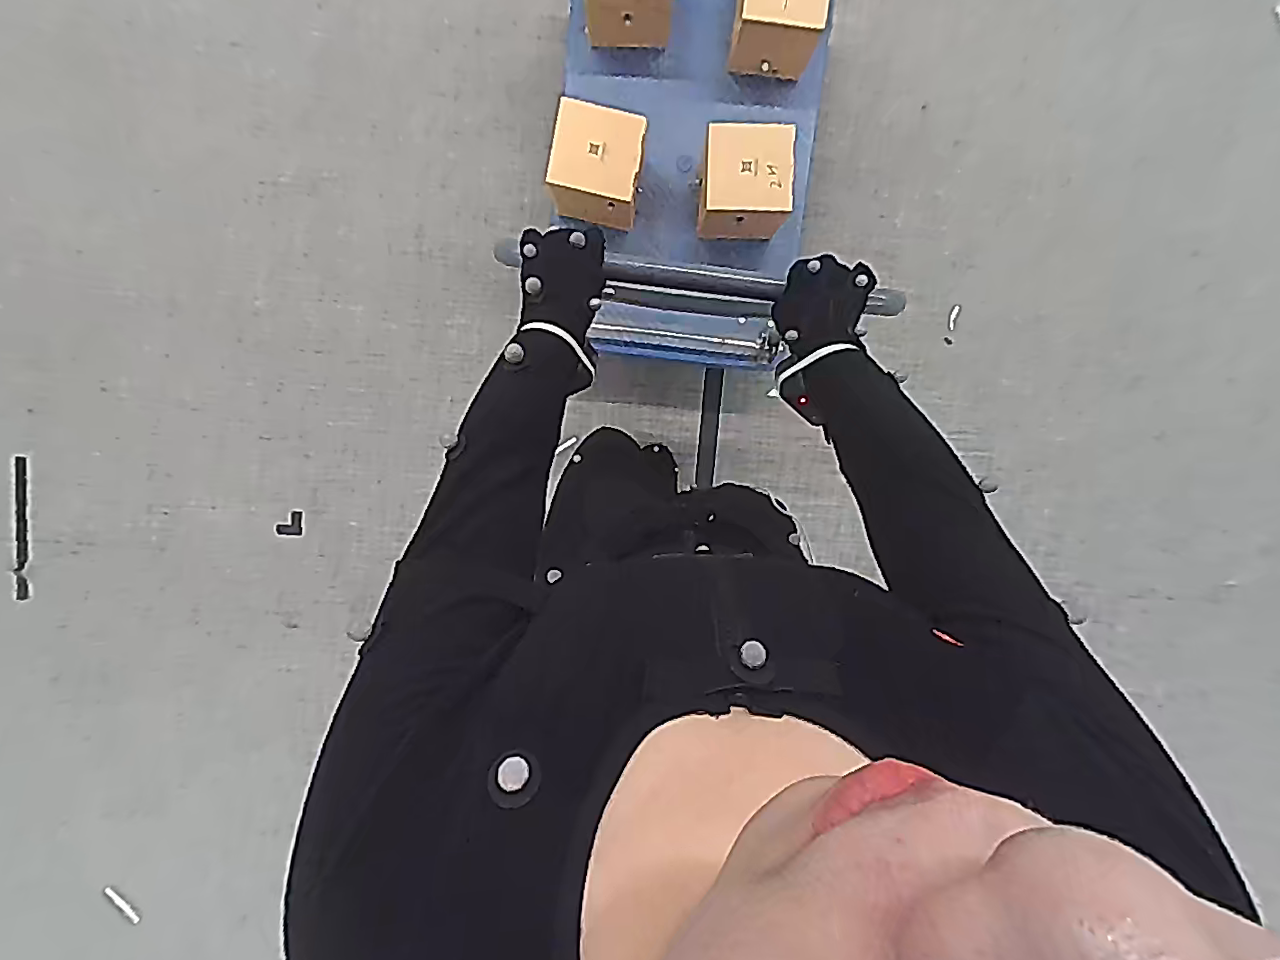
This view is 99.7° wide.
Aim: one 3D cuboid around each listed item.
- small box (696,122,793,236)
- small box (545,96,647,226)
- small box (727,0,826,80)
[{"bbox_3d":[0.215,-0.636,1.160,0.179,0.176,0.168,1,97,-1],"label":"small box"},{"bbox_3d":[-0.091,-0.666,1.151,0.179,0.176,0.168,12,95,-4],"label":"small box"},{"bbox_3d":[0.283,-0.982,1.121,0.168,0.176,0.179,7,98,-2],"label":"small box"}]
